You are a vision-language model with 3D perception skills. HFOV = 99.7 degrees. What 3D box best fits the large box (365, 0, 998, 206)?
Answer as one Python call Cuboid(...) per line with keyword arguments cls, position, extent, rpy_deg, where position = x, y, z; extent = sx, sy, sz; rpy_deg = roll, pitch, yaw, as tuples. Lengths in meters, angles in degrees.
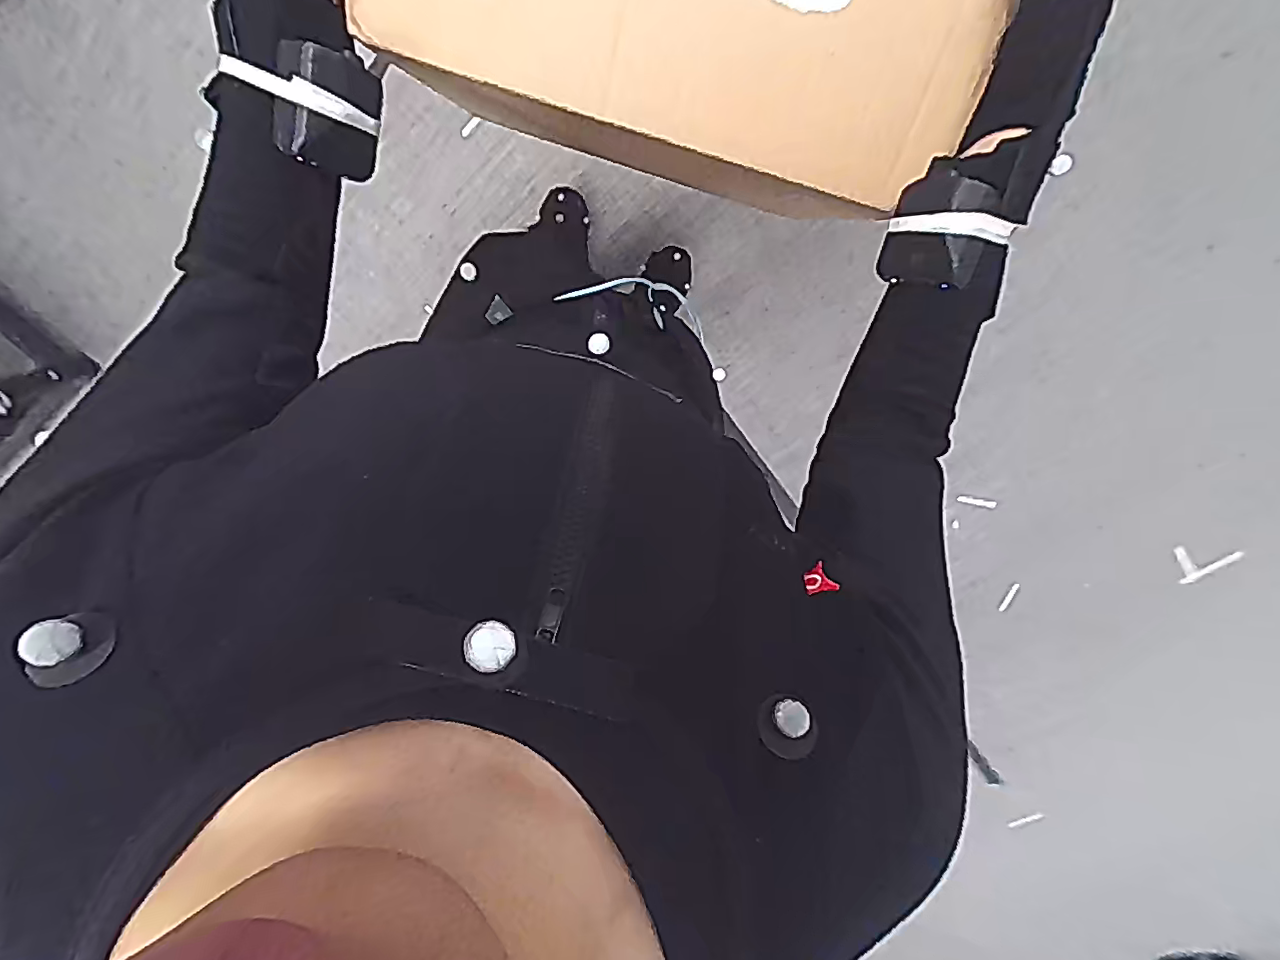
Cuboid(cls="large box", position=(0.041, -0.443, 0.445), extent=(0.408, 0.320, 0.320), rpy_deg=(12, 116, -8))
